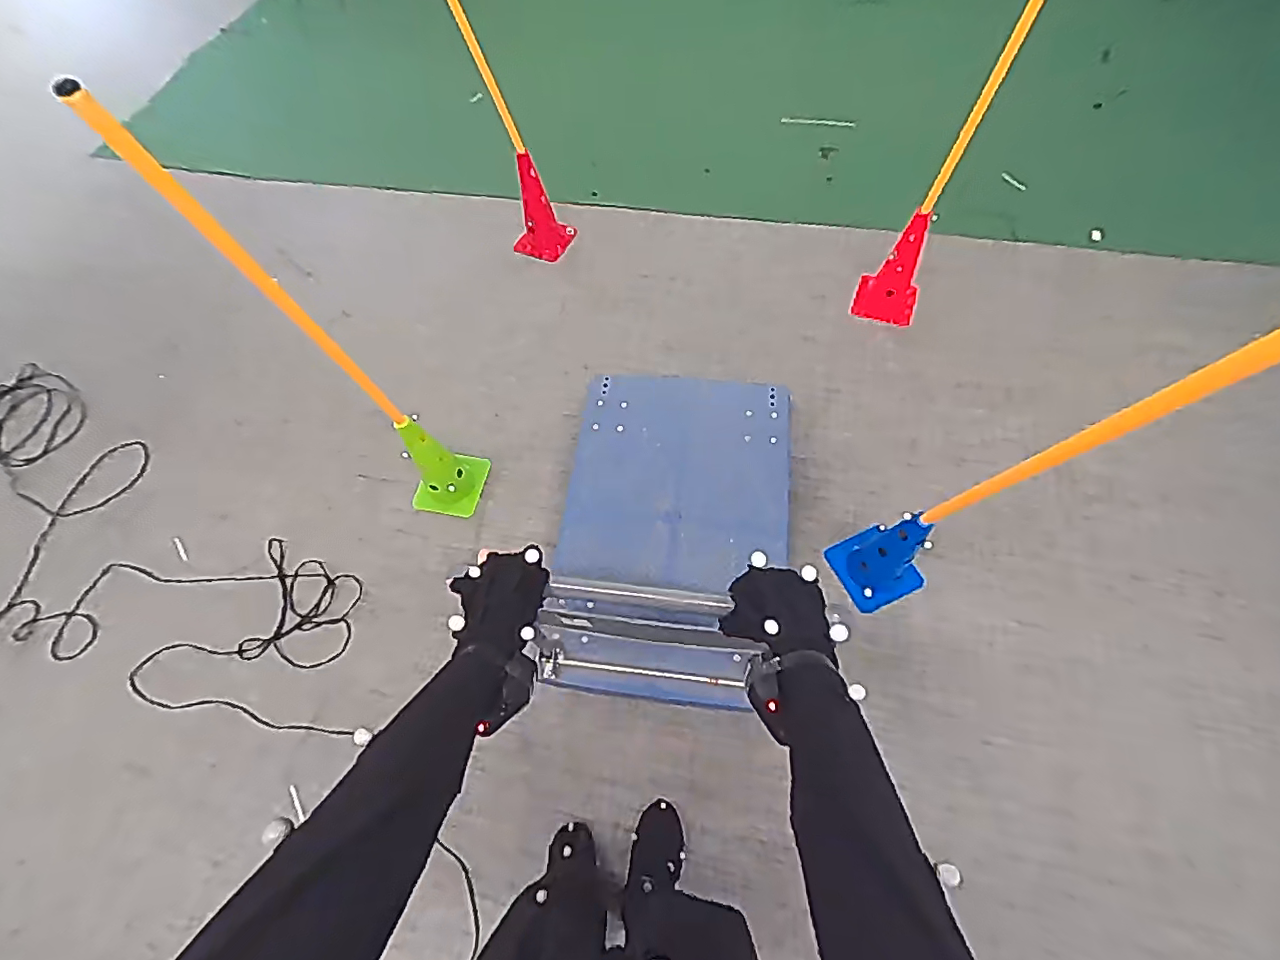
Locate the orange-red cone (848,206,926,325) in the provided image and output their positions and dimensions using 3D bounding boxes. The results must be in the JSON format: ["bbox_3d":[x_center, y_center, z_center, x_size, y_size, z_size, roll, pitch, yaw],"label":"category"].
[{"bbox_3d":[0.830,-0.705,1.729,0.198,0.360,0.199,19,67,14],"label":"orange-red cone"}]
